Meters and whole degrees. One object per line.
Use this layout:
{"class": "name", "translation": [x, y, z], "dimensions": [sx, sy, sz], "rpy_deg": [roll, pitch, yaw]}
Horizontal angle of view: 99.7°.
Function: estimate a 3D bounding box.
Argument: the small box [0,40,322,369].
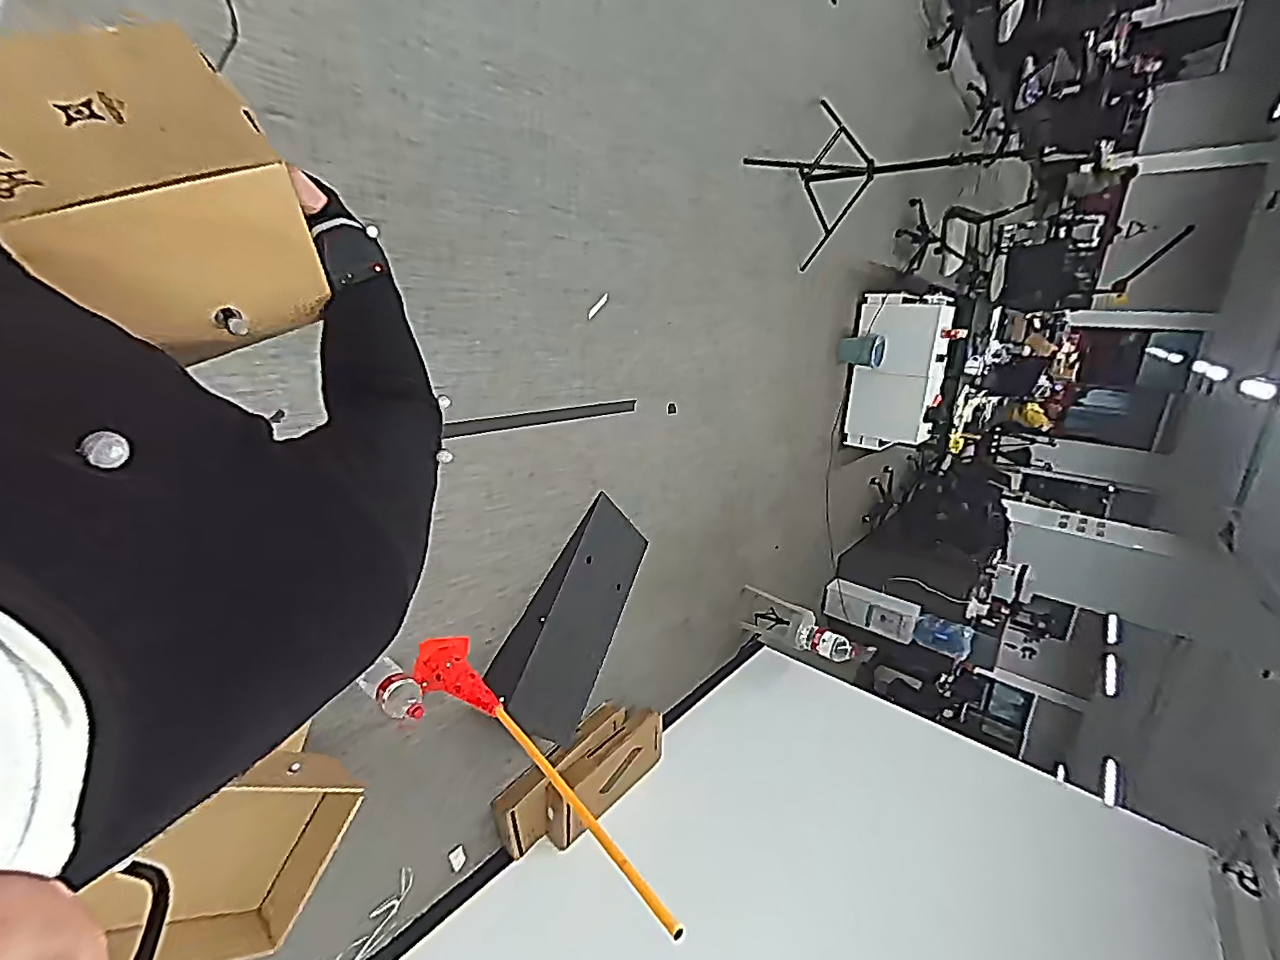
{"class": "small box", "translation": [-0.405, -0.229, 0.466], "dimensions": [0.179, 0.168, 0.176], "rpy_deg": [-33, 167, -27]}
